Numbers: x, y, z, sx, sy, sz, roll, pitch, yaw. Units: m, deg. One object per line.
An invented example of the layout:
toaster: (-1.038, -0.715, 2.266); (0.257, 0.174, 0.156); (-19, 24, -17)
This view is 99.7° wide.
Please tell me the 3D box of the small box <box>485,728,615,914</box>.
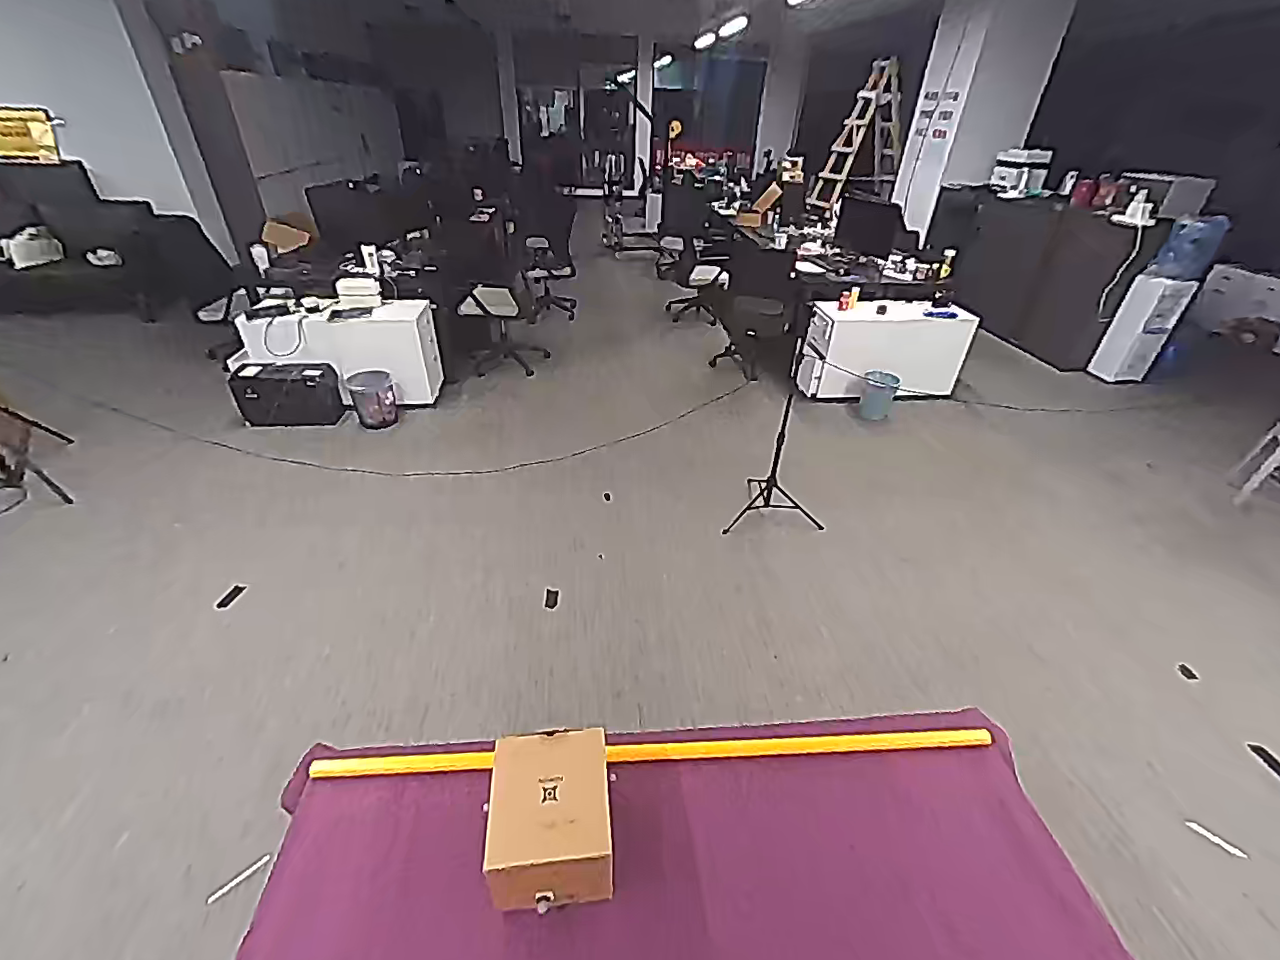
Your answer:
small box: (-0.126, 0.500, 0.800); (0.168, 0.176, 0.179); (-3, 36, -6)
